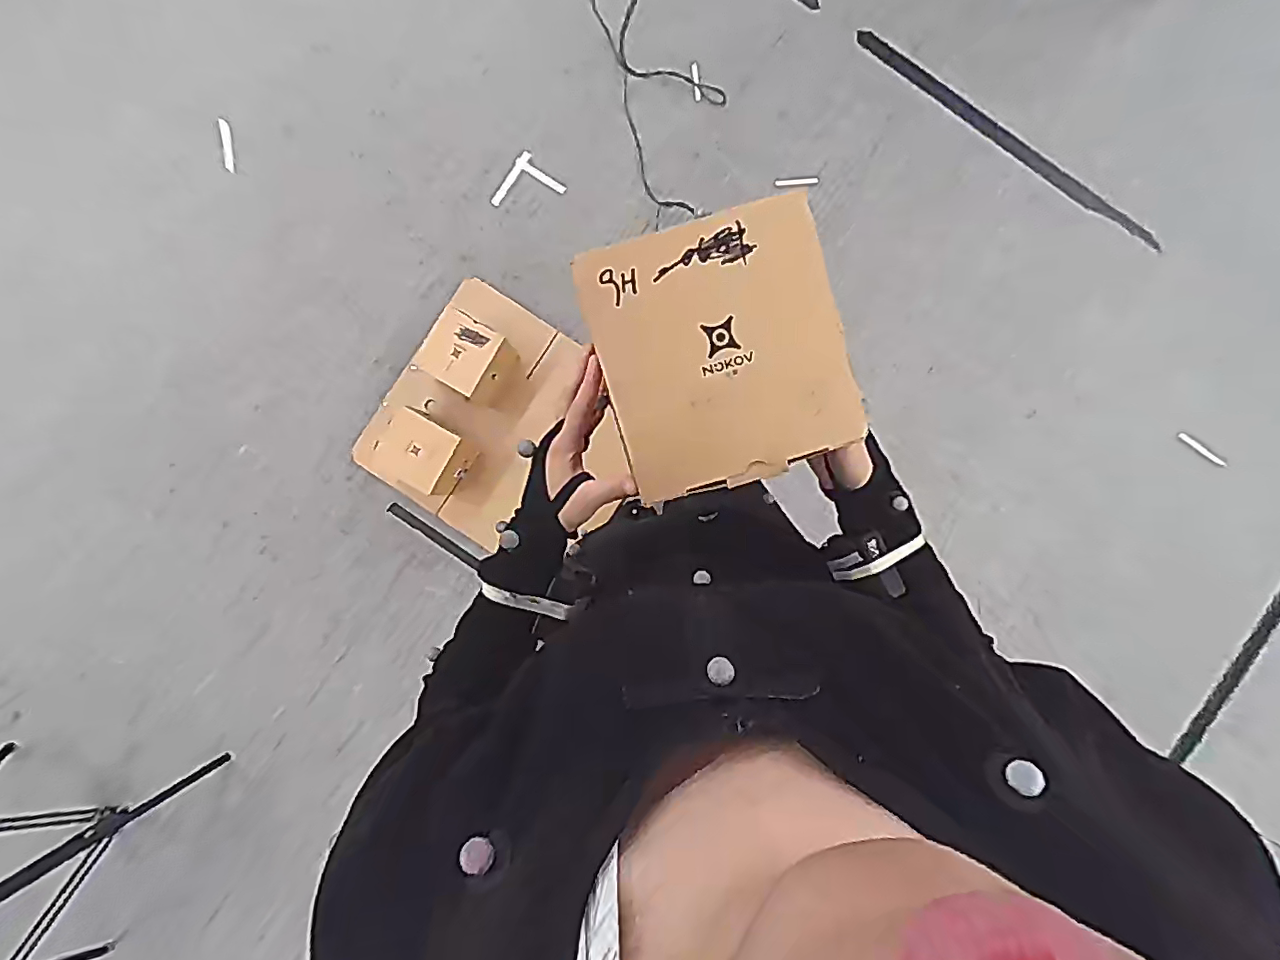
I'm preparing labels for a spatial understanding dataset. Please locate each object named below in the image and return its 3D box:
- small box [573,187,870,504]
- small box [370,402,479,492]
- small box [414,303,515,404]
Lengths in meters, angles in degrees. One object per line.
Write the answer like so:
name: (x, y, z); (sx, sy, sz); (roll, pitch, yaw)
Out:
small box: (0.054, -0.095, 0.438); (0.168, 0.176, 0.179); (-17, 95, -1)
small box: (-0.545, -0.079, 1.392); (0.179, 0.176, 0.168); (28, 90, -1)
small box: (-0.440, -0.318, 1.394); (0.168, 0.176, 0.179); (30, 89, 0)
